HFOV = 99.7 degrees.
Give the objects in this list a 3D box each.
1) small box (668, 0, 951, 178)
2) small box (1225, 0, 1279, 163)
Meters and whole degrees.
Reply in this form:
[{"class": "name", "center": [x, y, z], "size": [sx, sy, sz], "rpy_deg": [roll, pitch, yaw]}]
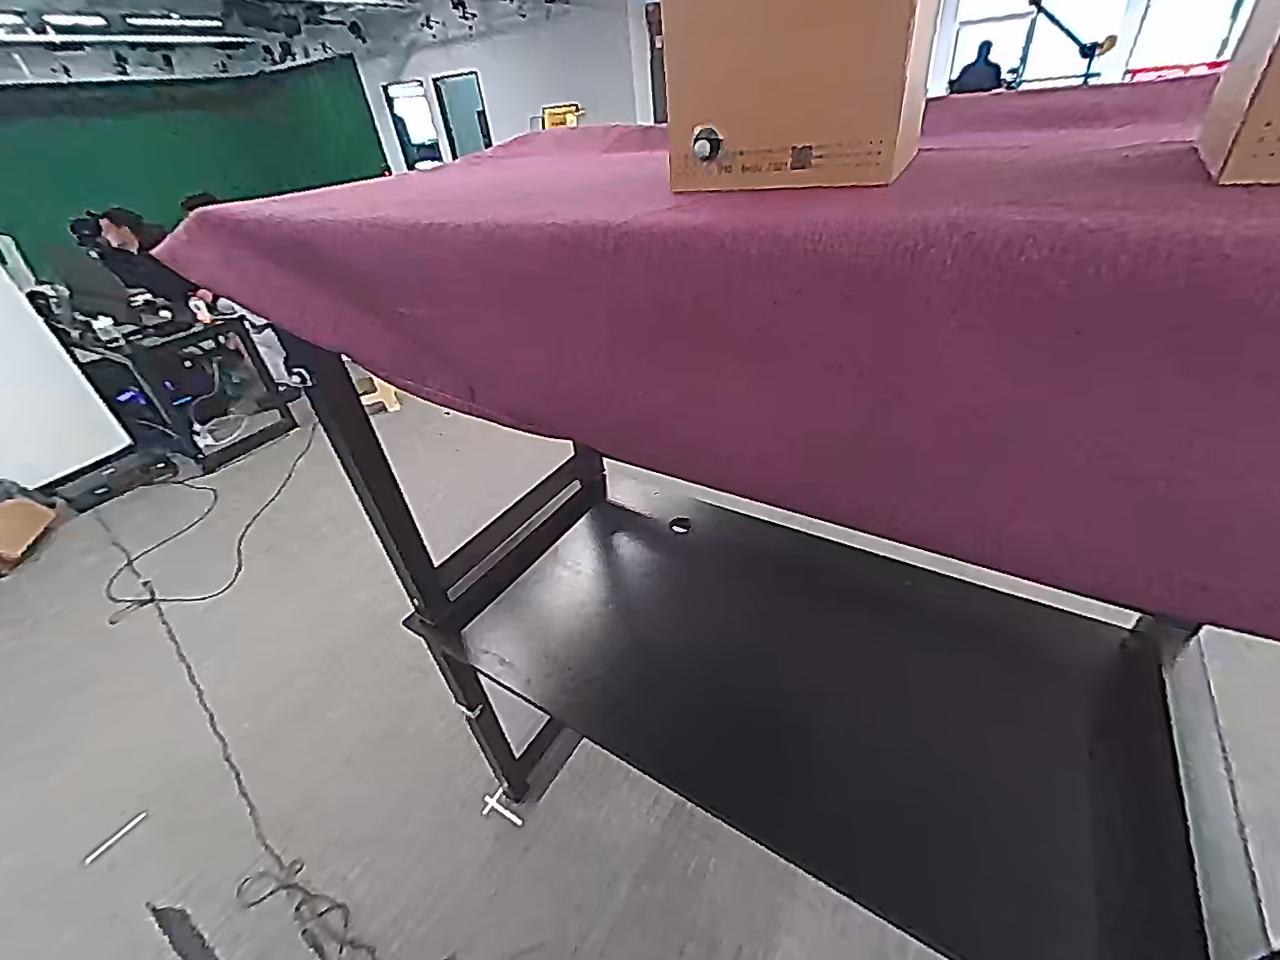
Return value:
[{"class": "small box", "center": [0.130, -0.327, 0.399], "size": [0.168, 0.176, 0.179], "rpy_deg": [13, 39, 25]}, {"class": "small box", "center": [0.398, -0.237, 0.225], "size": [0.168, 0.176, 0.179], "rpy_deg": [19, 42, 32]}]
